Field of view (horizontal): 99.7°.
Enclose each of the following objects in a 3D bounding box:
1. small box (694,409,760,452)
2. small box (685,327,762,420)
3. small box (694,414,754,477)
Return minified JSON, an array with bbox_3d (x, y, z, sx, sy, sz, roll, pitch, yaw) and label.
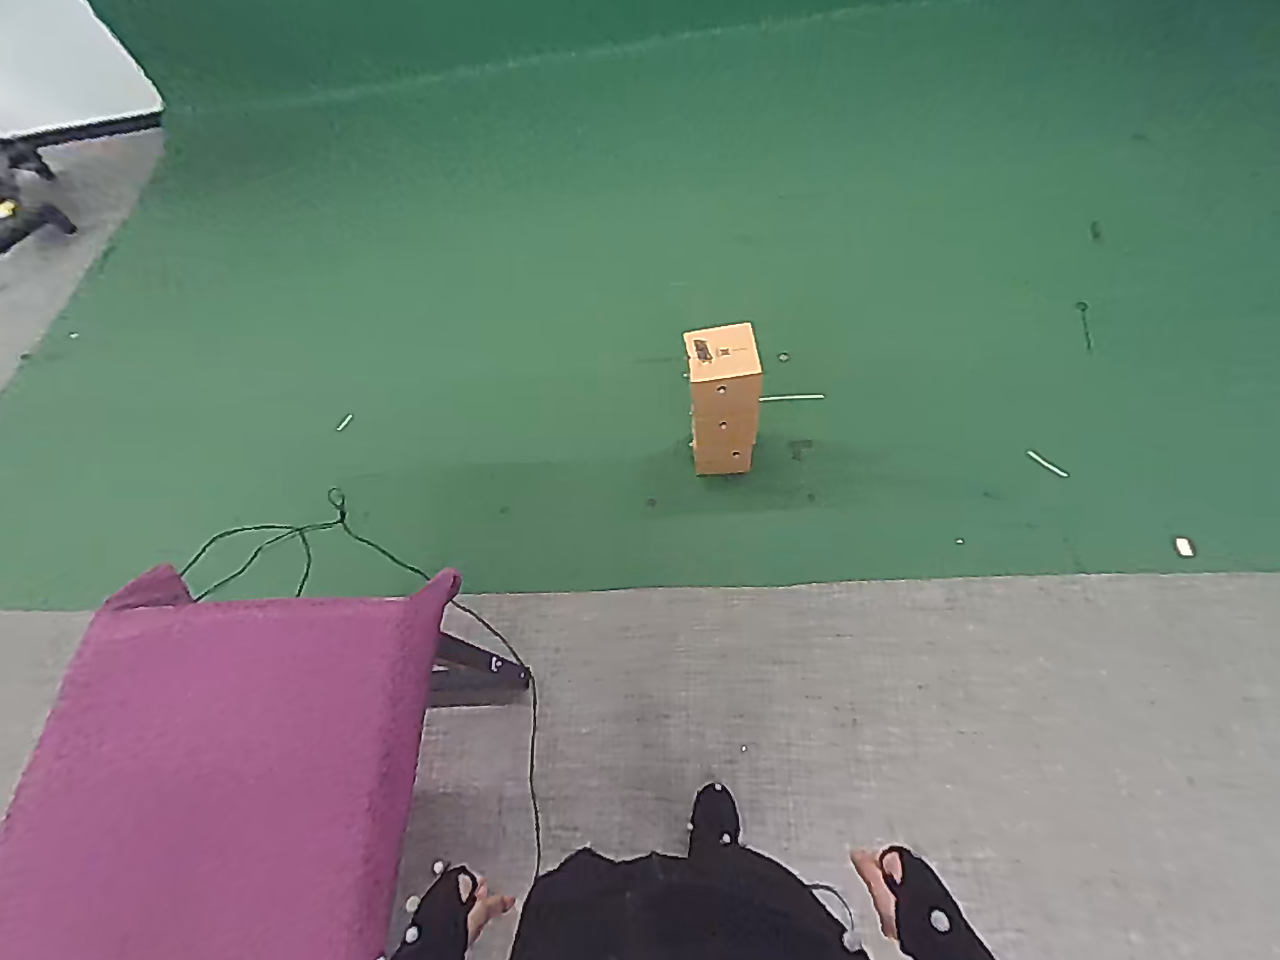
[{"bbox_3d":[0.248,-0.197,1.573,0.179,0.176,0.168,-7,62,8],"label":"small box"},{"bbox_3d":[0.220,-0.274,1.430,0.179,0.176,0.168,-7,62,5],"label":"small box"},{"bbox_3d":[0.264,-0.120,1.714,0.179,0.176,0.168,-4,62,8],"label":"small box"}]
